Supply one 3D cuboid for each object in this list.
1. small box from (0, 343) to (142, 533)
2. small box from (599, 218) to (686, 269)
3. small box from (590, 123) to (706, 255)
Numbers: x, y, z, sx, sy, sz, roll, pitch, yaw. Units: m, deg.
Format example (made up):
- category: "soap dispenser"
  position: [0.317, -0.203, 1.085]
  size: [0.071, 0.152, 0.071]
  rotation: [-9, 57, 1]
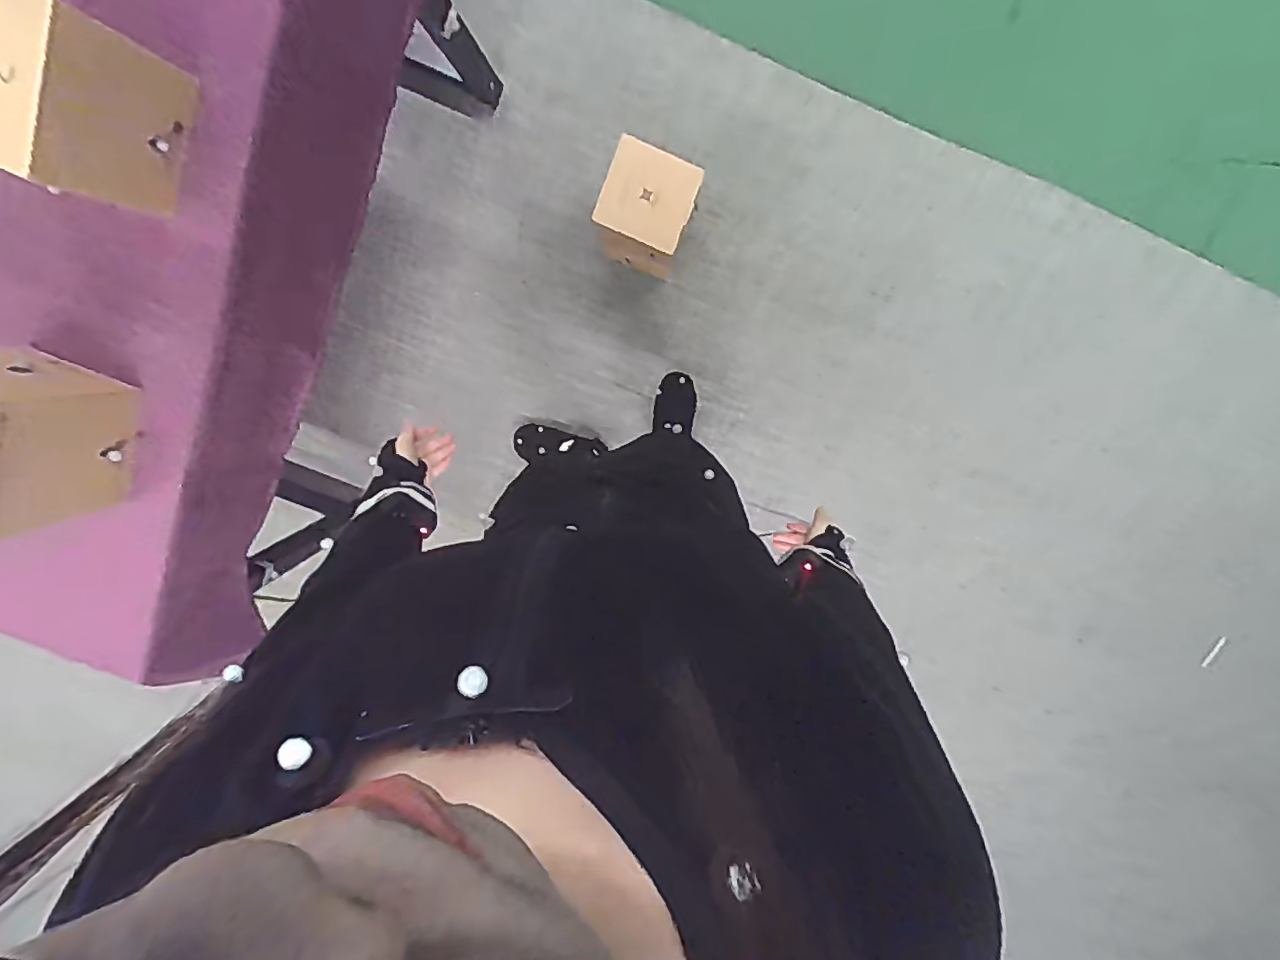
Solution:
- category: "small box"
  position: [-0.782, -0.063, 0.675]
  size: [0.168, 0.176, 0.179]
  rotation: [21, 104, -4]
- category: "small box"
  position: [0.016, -0.611, 1.261]
  size: [0.168, 0.176, 0.179]
  rotation: [20, 104, -4]
- category: "small box"
  position: [0.015, -0.576, 1.102]
  size: [0.179, 0.176, 0.168]
  rotation: [23, 103, -4]
